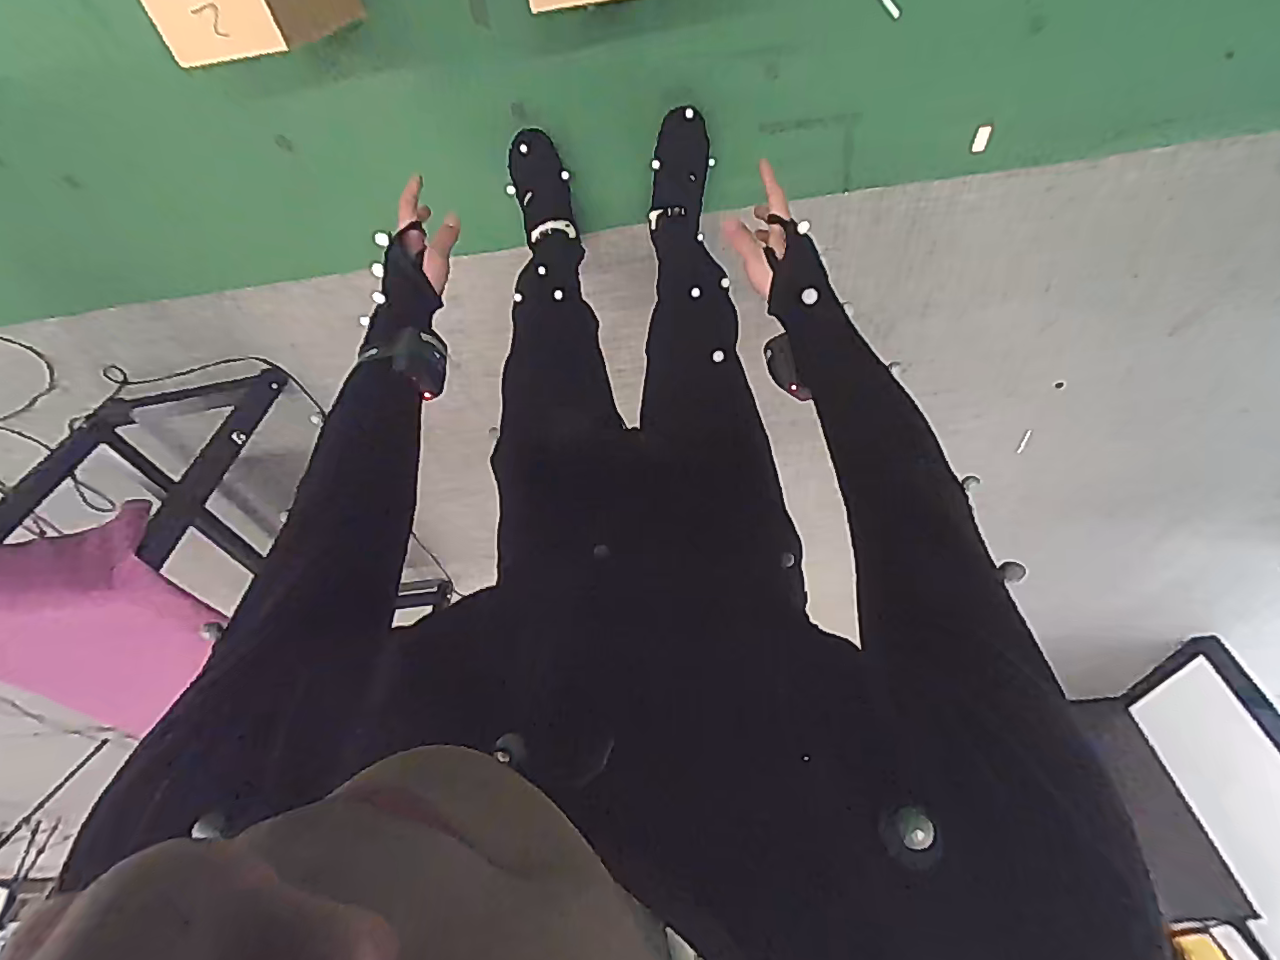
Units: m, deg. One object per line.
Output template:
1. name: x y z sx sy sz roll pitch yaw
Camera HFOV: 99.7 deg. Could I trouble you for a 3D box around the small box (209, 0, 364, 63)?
1. small box: -0.584 -0.808 0.874 0.168 0.176 0.179 -7 135 5
